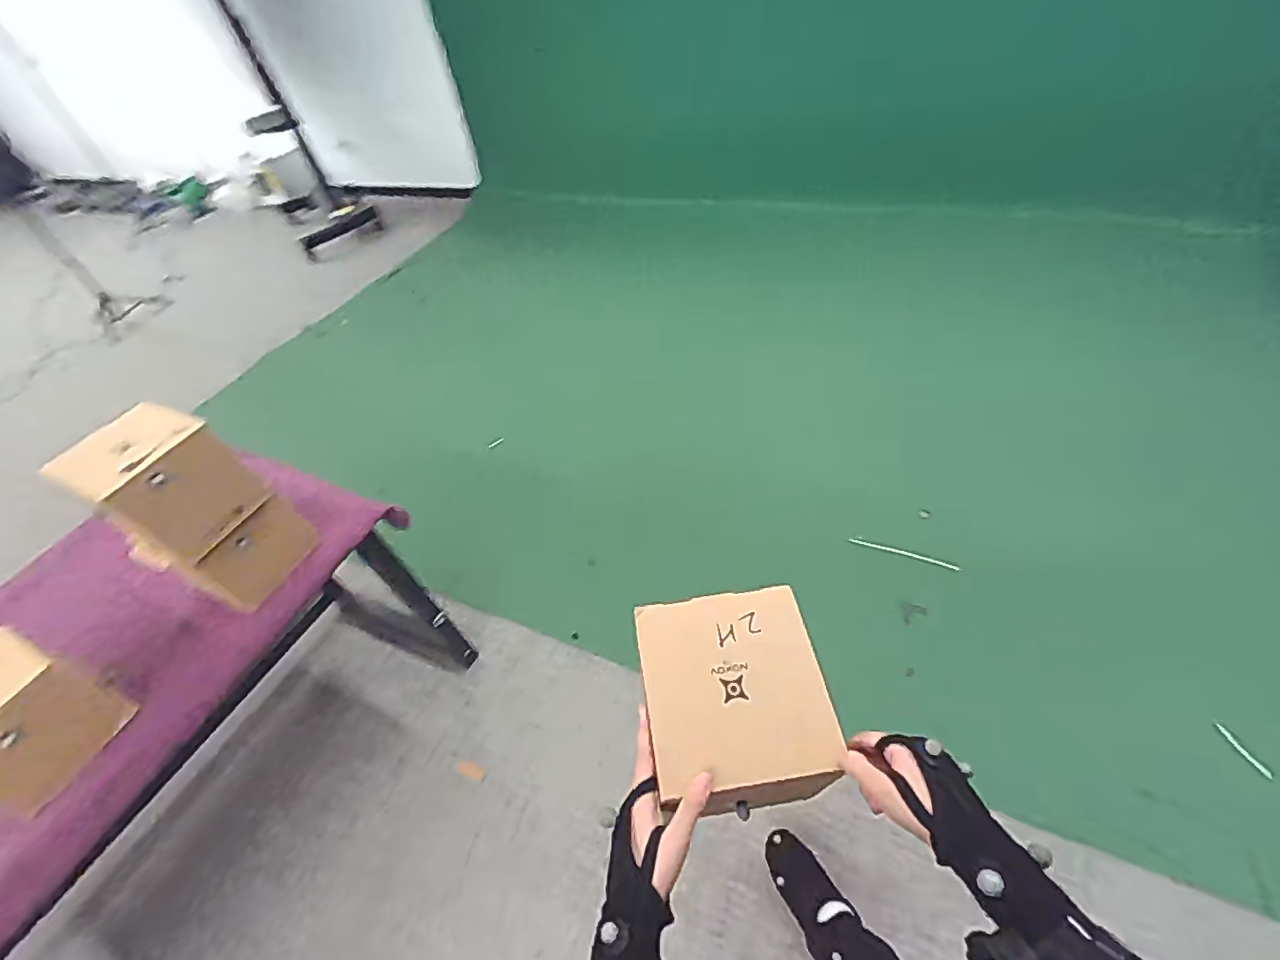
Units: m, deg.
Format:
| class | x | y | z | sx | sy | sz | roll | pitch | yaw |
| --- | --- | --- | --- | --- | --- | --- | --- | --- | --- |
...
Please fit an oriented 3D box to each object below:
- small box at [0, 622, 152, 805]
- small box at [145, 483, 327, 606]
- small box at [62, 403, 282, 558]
| class | x | y | z | sx | sy | sz | roll | pitch | yaw |
| --- | --- | --- | --- | --- | --- | --- | --- | --- | --- |
| small box | -0.913 | 0.353 | 0.814 | 0.168 | 0.176 | 0.179 | 15 | 52 | 24 |
| small box | -0.733 | 0.106 | 1.003 | 0.168 | 0.176 | 0.179 | 14 | 52 | 21 |
| small box | -0.741 | 0.002 | 0.875 | 0.179 | 0.176 | 0.168 | 15 | 54 | 23 |
